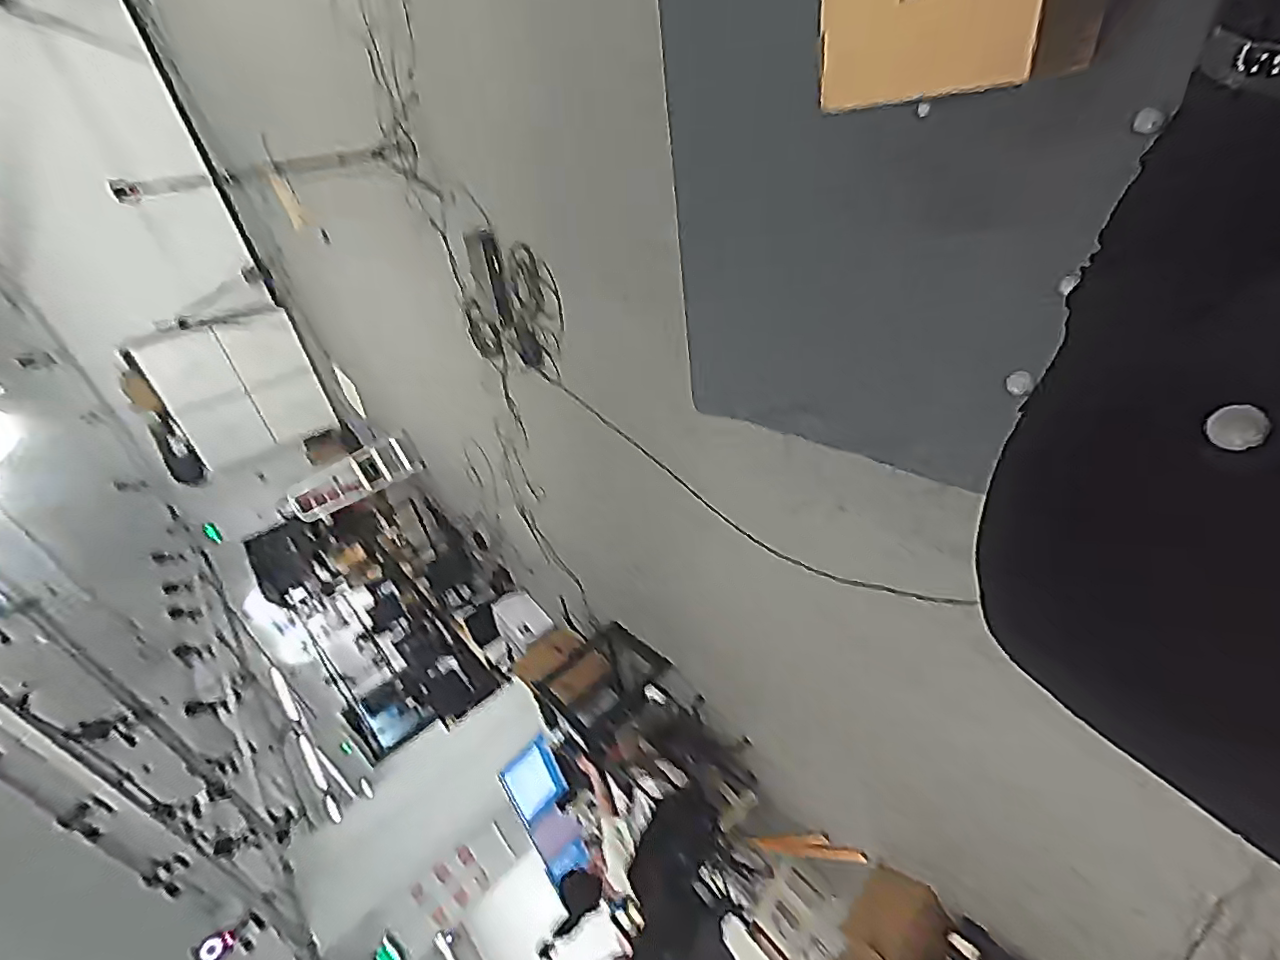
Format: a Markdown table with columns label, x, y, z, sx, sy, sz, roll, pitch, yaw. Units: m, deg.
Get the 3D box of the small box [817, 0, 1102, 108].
| label | x | y | z | sx | sy | sz | roll | pitch | yaw |
| --- | --- | --- | --- | --- | --- | --- | --- | --- | --- |
| small box | 0.274 | -0.435 | 0.461 | 0.179 | 0.176 | 0.168 | 24 | 137 | 43 |
